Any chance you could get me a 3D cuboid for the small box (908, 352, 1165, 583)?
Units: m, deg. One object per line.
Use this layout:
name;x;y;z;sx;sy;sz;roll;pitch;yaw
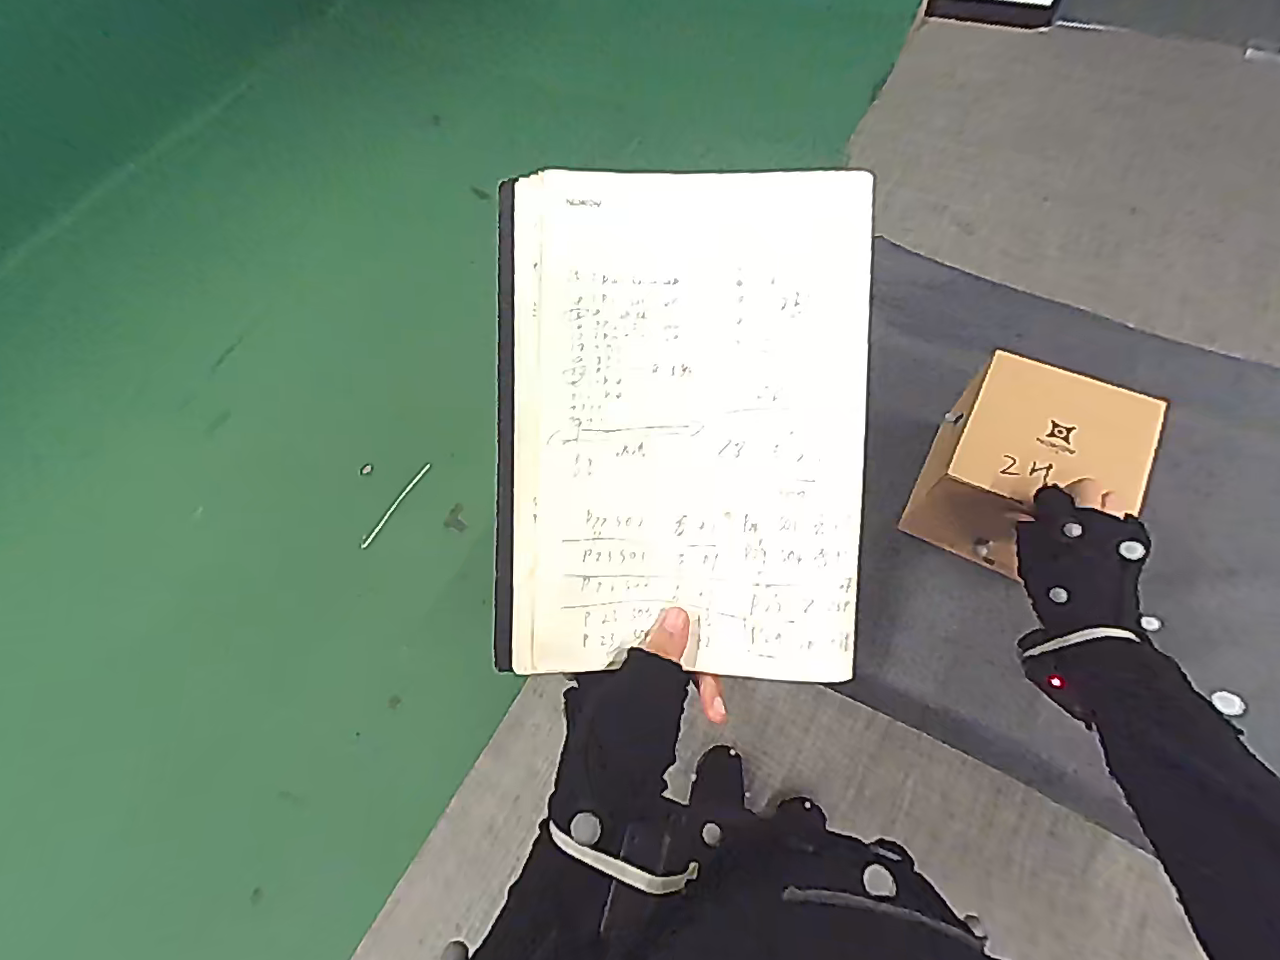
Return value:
small box;0.437;-0.008;0.624;0.168;0.176;0.179;25;71;19
